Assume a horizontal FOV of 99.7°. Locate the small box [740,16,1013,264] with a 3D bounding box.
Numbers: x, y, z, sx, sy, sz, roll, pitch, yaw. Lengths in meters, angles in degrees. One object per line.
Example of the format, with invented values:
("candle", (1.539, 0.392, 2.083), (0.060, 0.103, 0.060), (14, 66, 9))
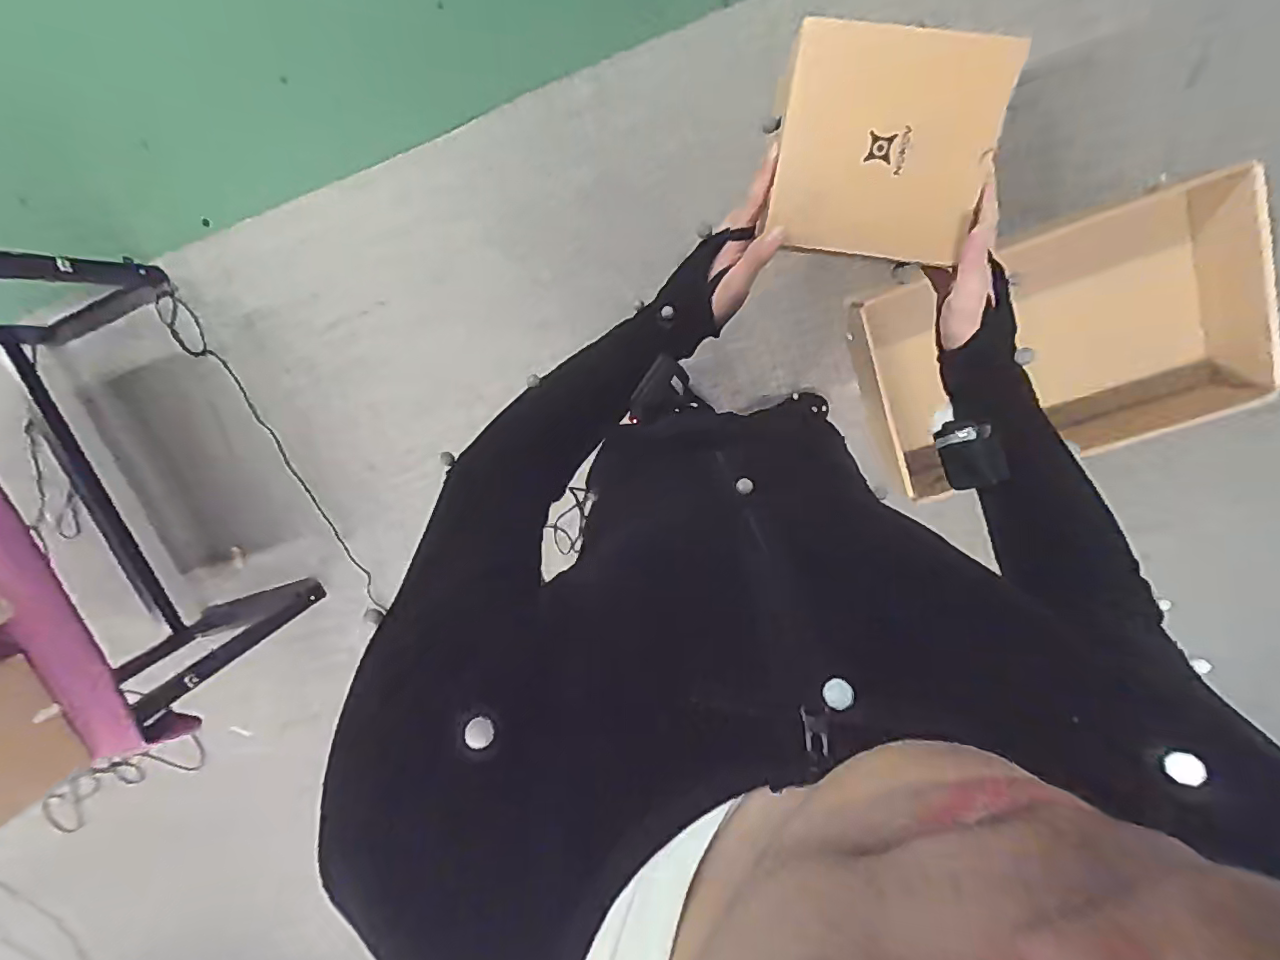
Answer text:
("small box", (0.199, -0.304, 0.520), (0.179, 0.176, 0.168), (8, 113, 2))
